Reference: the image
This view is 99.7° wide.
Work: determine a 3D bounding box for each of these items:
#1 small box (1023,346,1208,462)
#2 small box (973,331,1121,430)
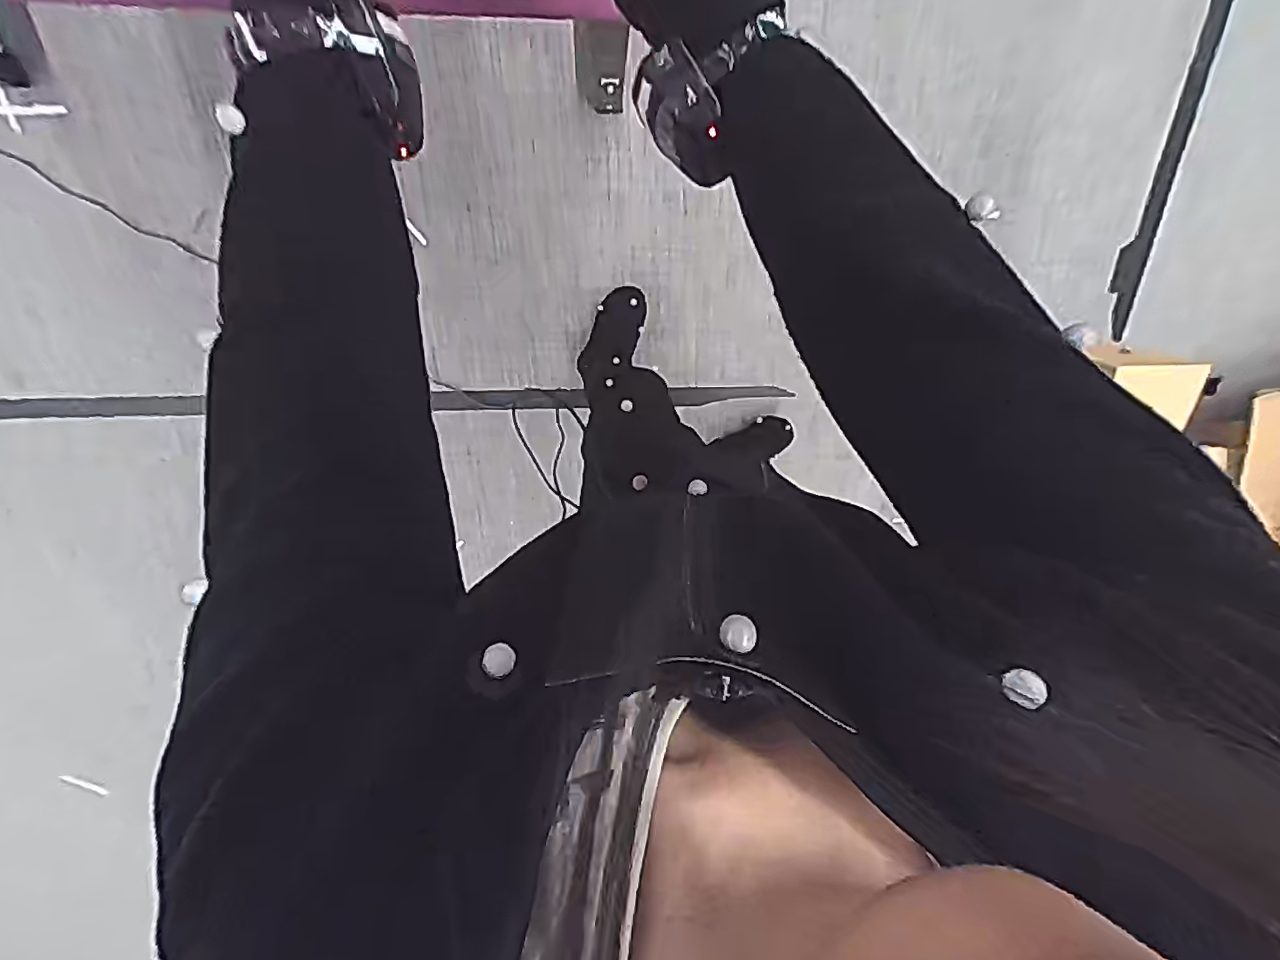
[{"bbox_3d":[0.863,-0.148,1.005,0.168,0.176,0.179,-1,117,-3],"label":"small box"},{"bbox_3d":[0.852,-0.218,1.154,0.168,0.176,0.179,-2,117,-3],"label":"small box"}]
